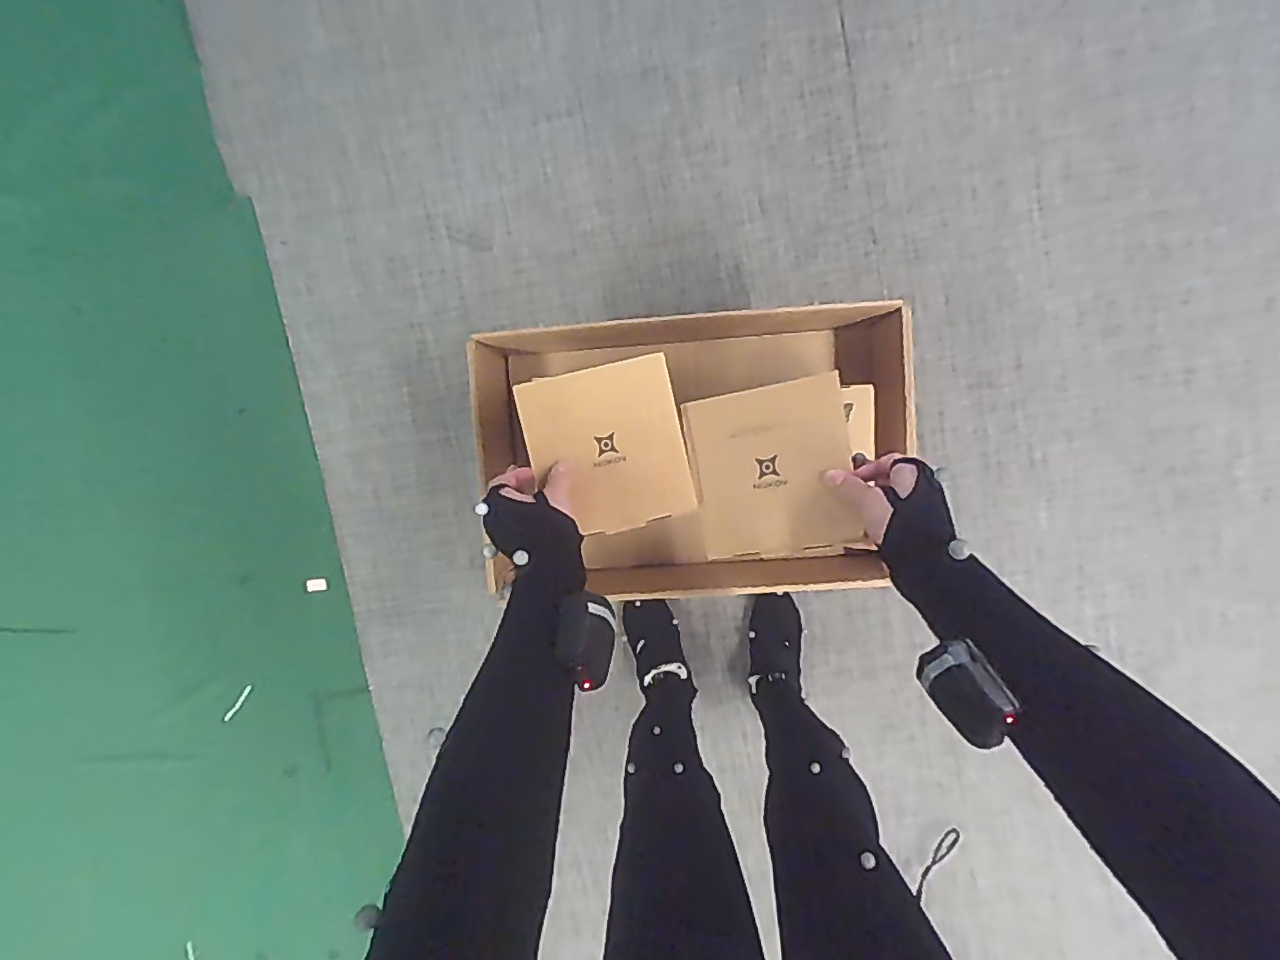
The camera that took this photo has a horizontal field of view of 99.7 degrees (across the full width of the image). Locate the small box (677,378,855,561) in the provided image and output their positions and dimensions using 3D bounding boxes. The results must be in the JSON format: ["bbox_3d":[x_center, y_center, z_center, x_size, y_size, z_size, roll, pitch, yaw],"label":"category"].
[{"bbox_3d":[0.157,-0.013,0.638,0.168,0.176,0.179,-9,91,21],"label":"small box"}]
